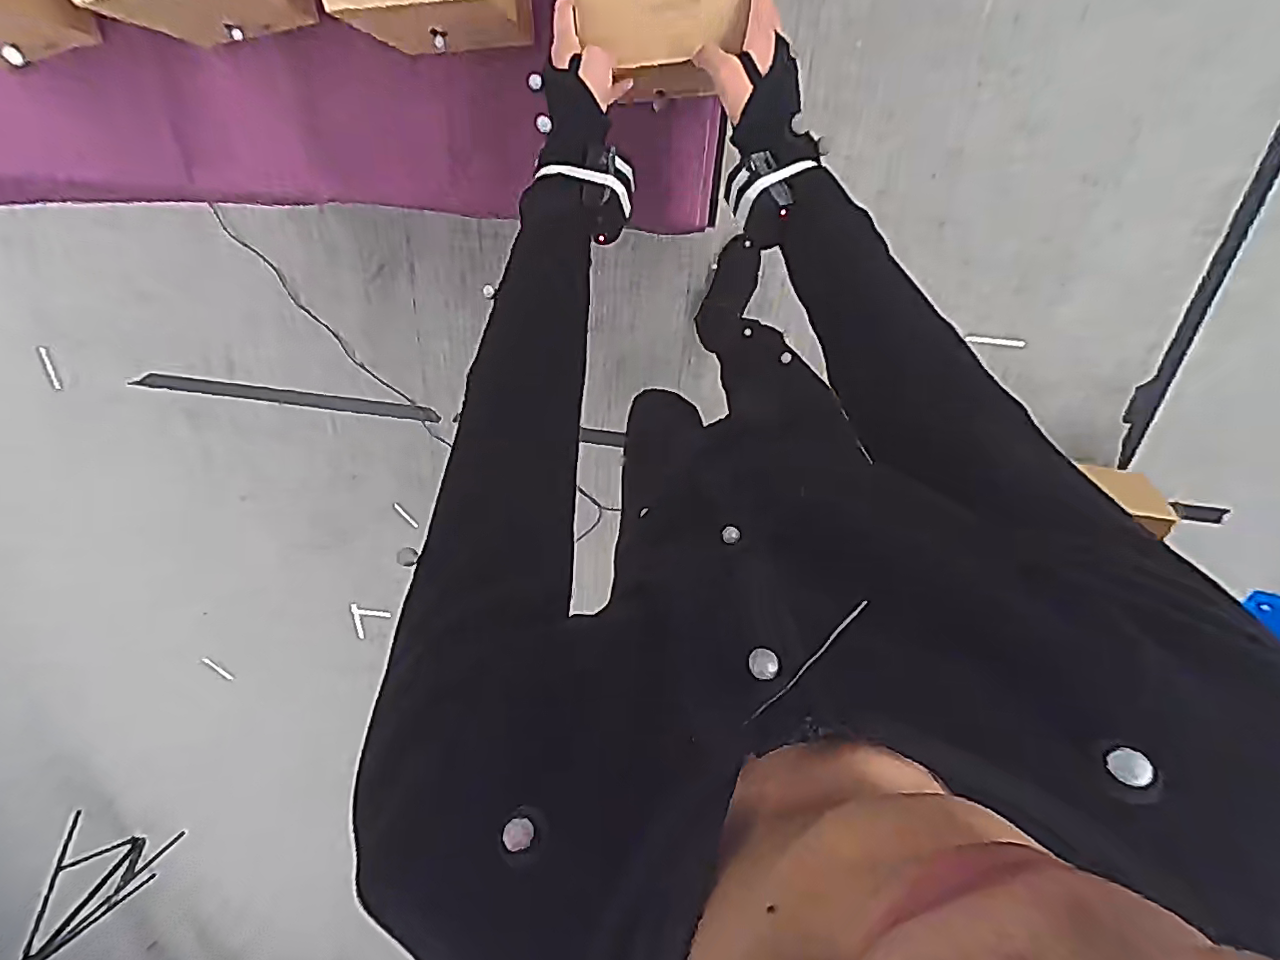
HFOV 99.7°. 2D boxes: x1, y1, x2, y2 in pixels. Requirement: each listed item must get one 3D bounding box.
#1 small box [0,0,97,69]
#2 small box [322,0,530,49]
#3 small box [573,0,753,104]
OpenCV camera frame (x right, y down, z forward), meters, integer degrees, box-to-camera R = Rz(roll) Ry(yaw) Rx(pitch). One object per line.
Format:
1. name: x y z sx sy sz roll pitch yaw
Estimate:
1. small box: -0.789 -0.593 0.597 0.168 0.176 0.179 -6 116 10
2. small box: -0.218 -0.562 0.547 0.168 0.176 0.179 1 116 6
3. small box: 0.027 -0.506 0.545 0.168 0.176 0.179 0 116 9
